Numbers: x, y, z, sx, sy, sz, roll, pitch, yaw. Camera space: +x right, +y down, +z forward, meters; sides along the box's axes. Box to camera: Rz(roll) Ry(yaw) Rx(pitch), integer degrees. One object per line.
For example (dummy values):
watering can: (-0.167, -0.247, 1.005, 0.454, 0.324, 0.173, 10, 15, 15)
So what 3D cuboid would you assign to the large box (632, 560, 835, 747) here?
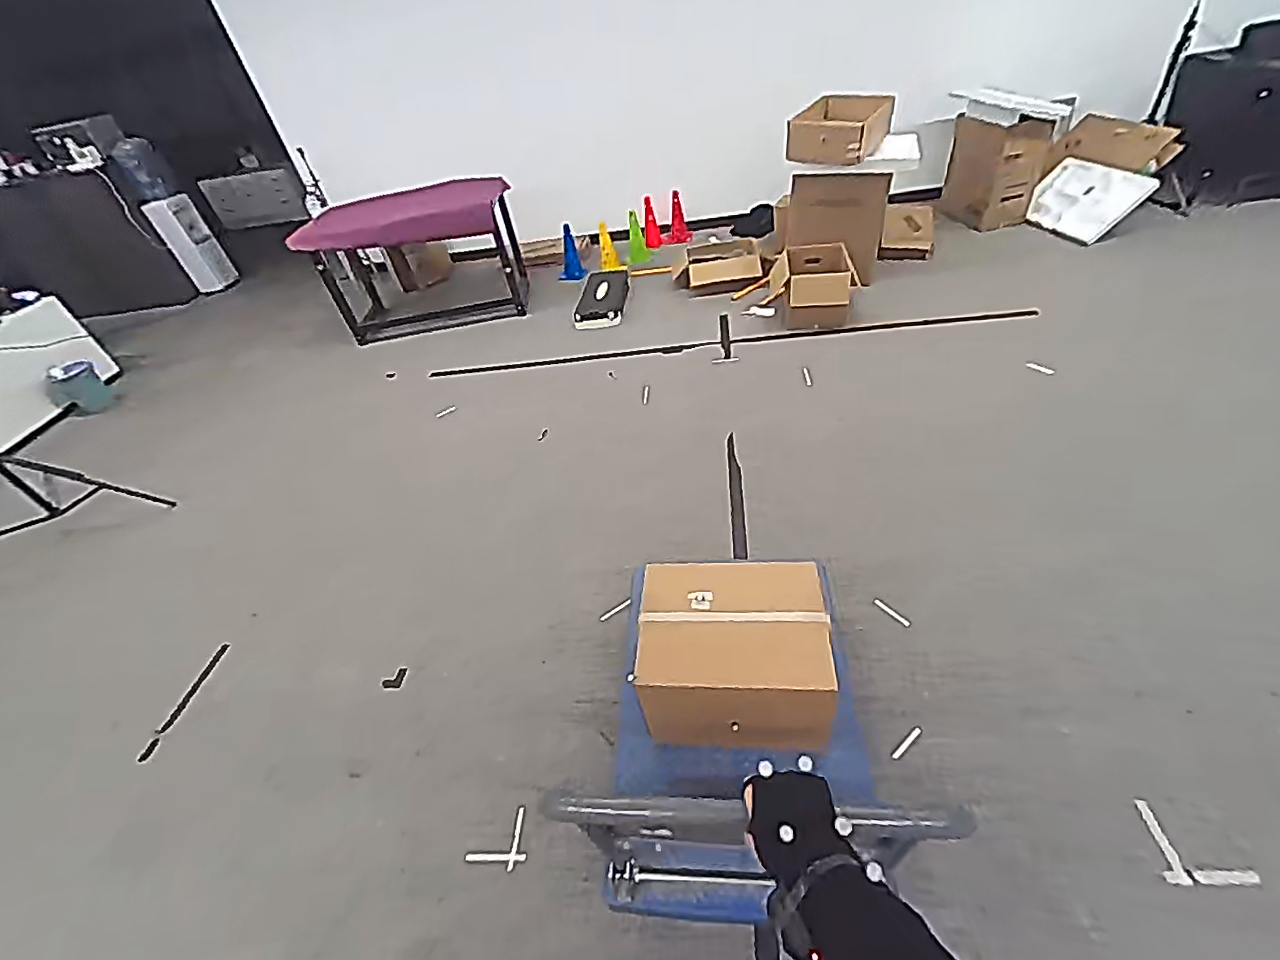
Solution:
large box: (0.216, 0.411, 1.270, 0.408, 0.320, 0.320, -4, 41, 10)
